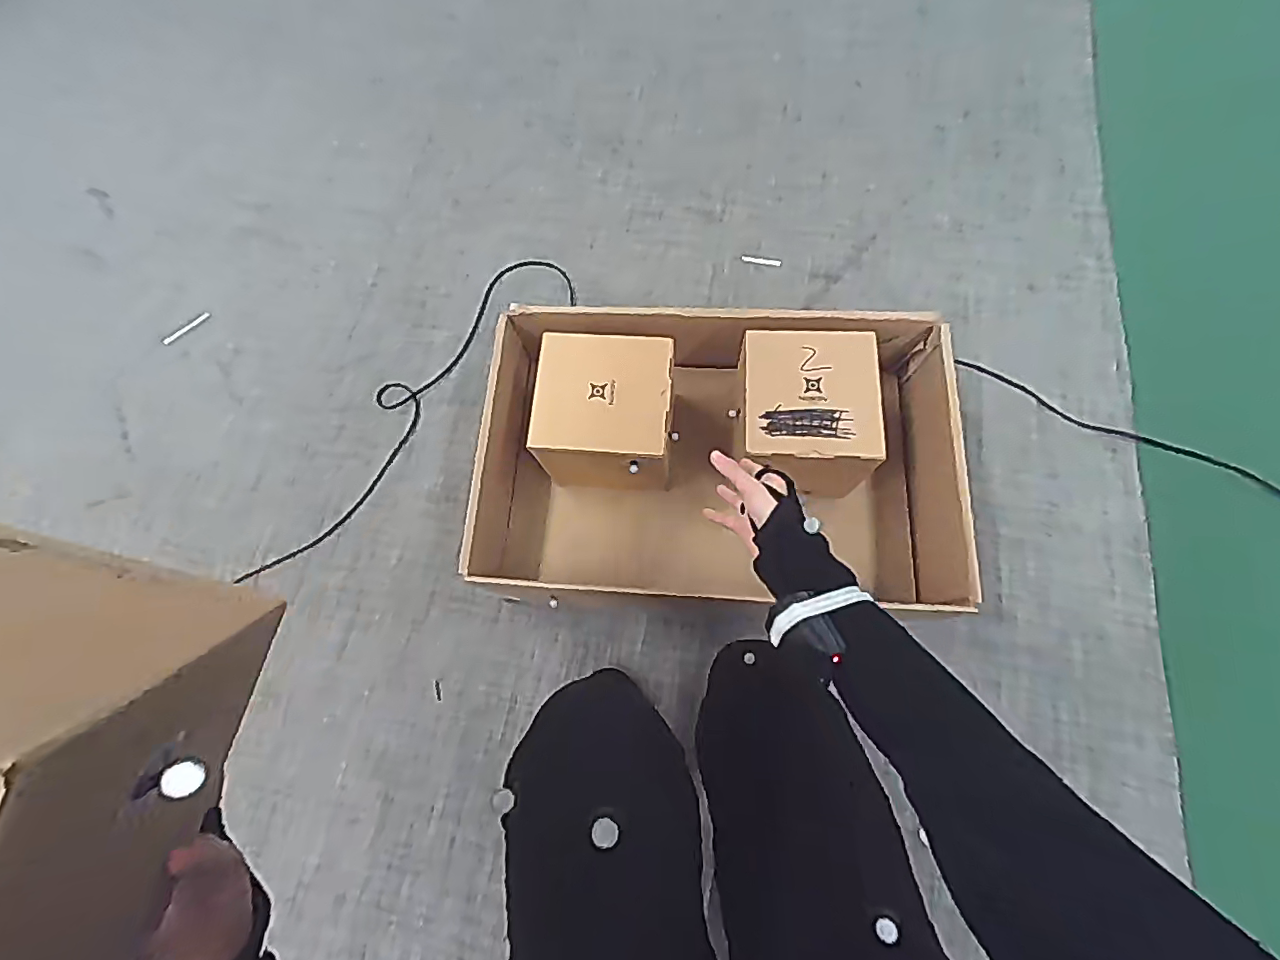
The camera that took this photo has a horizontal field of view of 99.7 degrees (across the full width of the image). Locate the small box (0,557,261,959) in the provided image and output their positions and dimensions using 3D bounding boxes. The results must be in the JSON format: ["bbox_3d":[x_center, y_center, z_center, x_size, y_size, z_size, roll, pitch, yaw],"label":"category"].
[{"bbox_3d":[-0.269,0.129,0.181,0.168,0.176,0.179,21,86,-13],"label":"small box"}]

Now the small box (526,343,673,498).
[{"bbox_3d":[-0.046,-0.076,0.767,0.179,0.176,0.168,3,73,4],"label":"small box"}]
